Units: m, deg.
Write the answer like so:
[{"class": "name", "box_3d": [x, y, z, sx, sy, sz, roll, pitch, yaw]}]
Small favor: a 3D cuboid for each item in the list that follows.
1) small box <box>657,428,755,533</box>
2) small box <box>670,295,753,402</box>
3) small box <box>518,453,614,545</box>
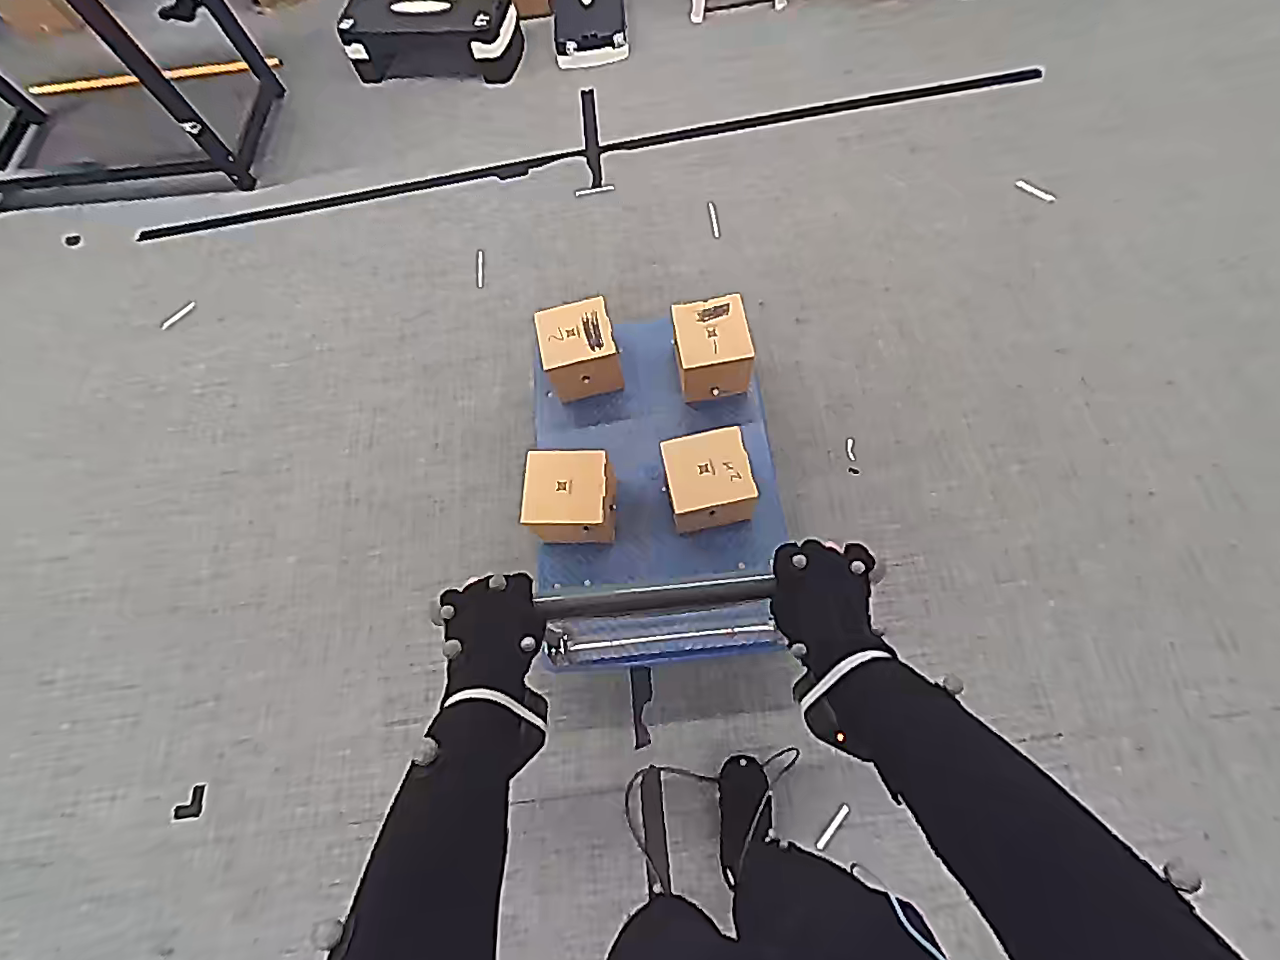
[{"class": "small box", "box_3d": [0.144, 0.008, 1.192, 0.179, 0.176, 0.168, -12, 70, 1]}, {"class": "small box", "box_3d": [0.166, -0.311, 1.305, 0.168, 0.176, 0.179, -10, 71, 3]}, {"class": "small box", "box_3d": [-0.157, 0.047, 1.209, 0.179, 0.176, 0.168, -1, 69, 4]}]
